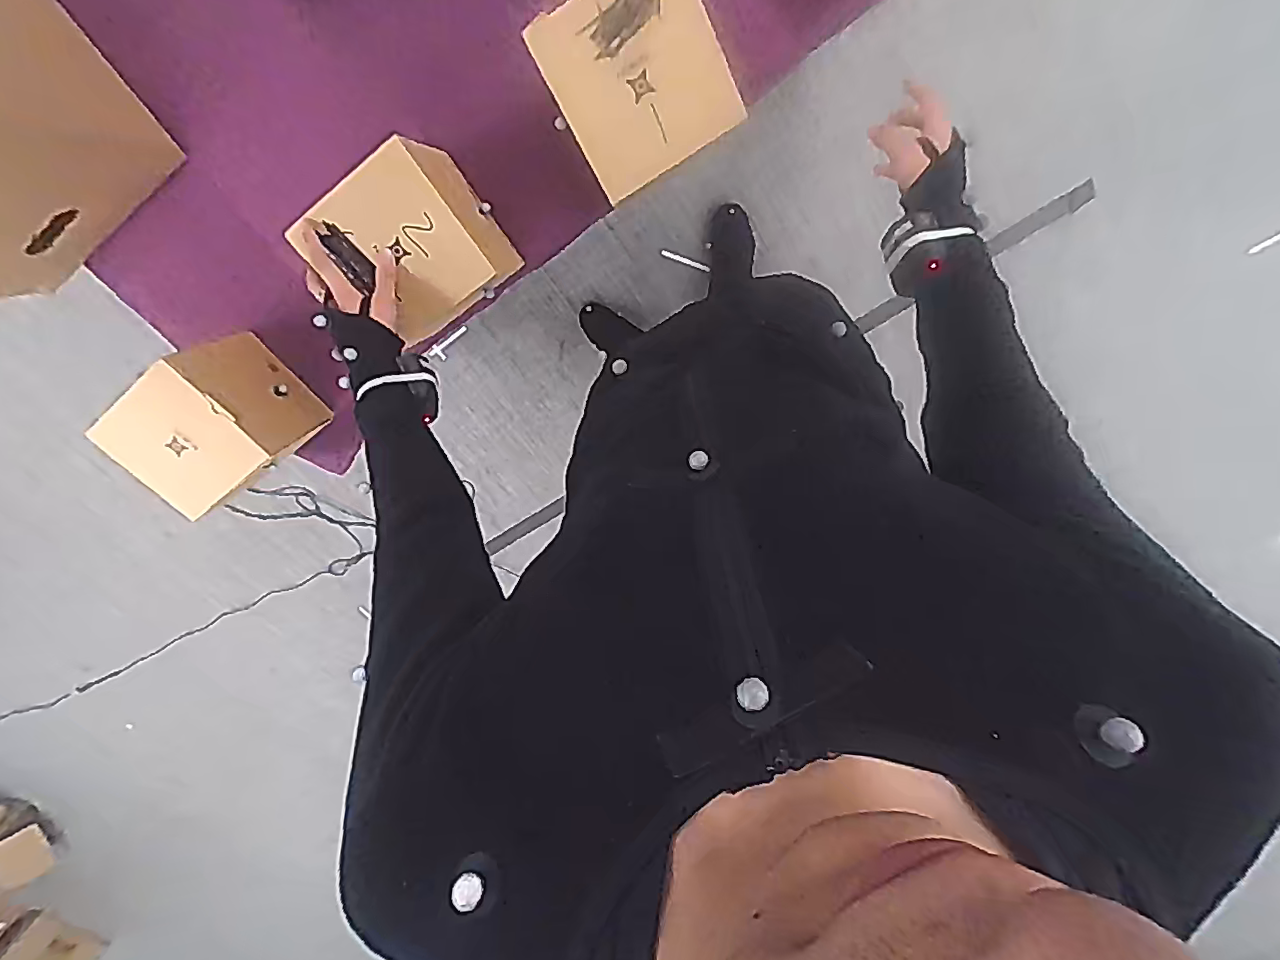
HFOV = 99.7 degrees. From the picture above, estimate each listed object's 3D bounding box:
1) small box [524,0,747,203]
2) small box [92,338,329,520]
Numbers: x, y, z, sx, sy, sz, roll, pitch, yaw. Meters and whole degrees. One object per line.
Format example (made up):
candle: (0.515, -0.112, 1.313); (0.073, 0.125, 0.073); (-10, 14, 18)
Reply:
small box: (-0.002, -0.436, 0.609); (0.168, 0.176, 0.179); (-28, 113, 13)
small box: (-0.601, -0.080, 0.784); (0.179, 0.176, 0.168); (-34, 111, 14)
